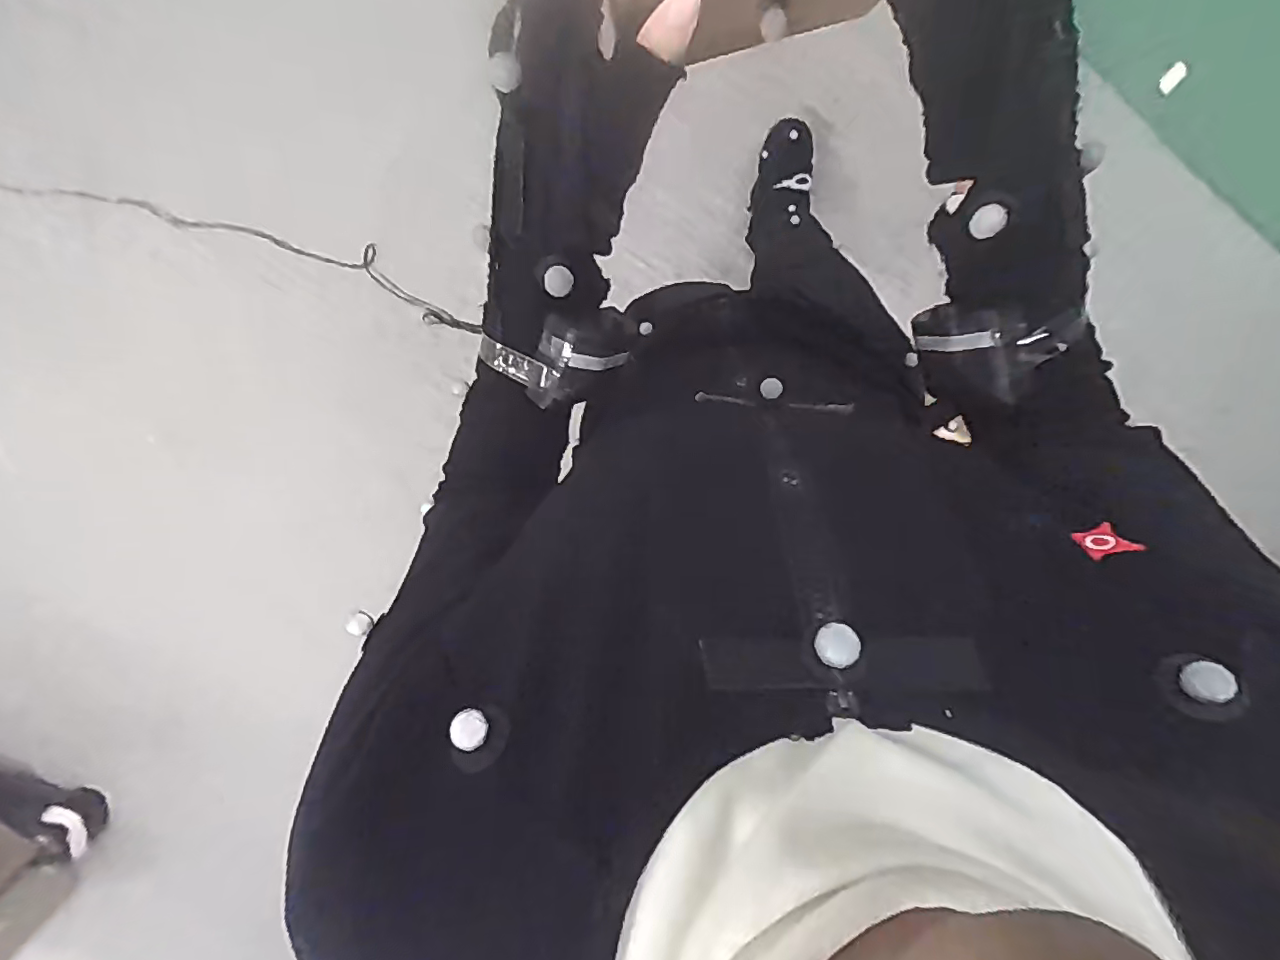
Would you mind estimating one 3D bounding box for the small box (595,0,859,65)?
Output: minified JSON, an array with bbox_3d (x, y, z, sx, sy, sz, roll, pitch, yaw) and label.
[{"bbox_3d":[0.043,-0.320,0.241,0.168,0.176,0.179,-14,113,5],"label":"small box"}]
